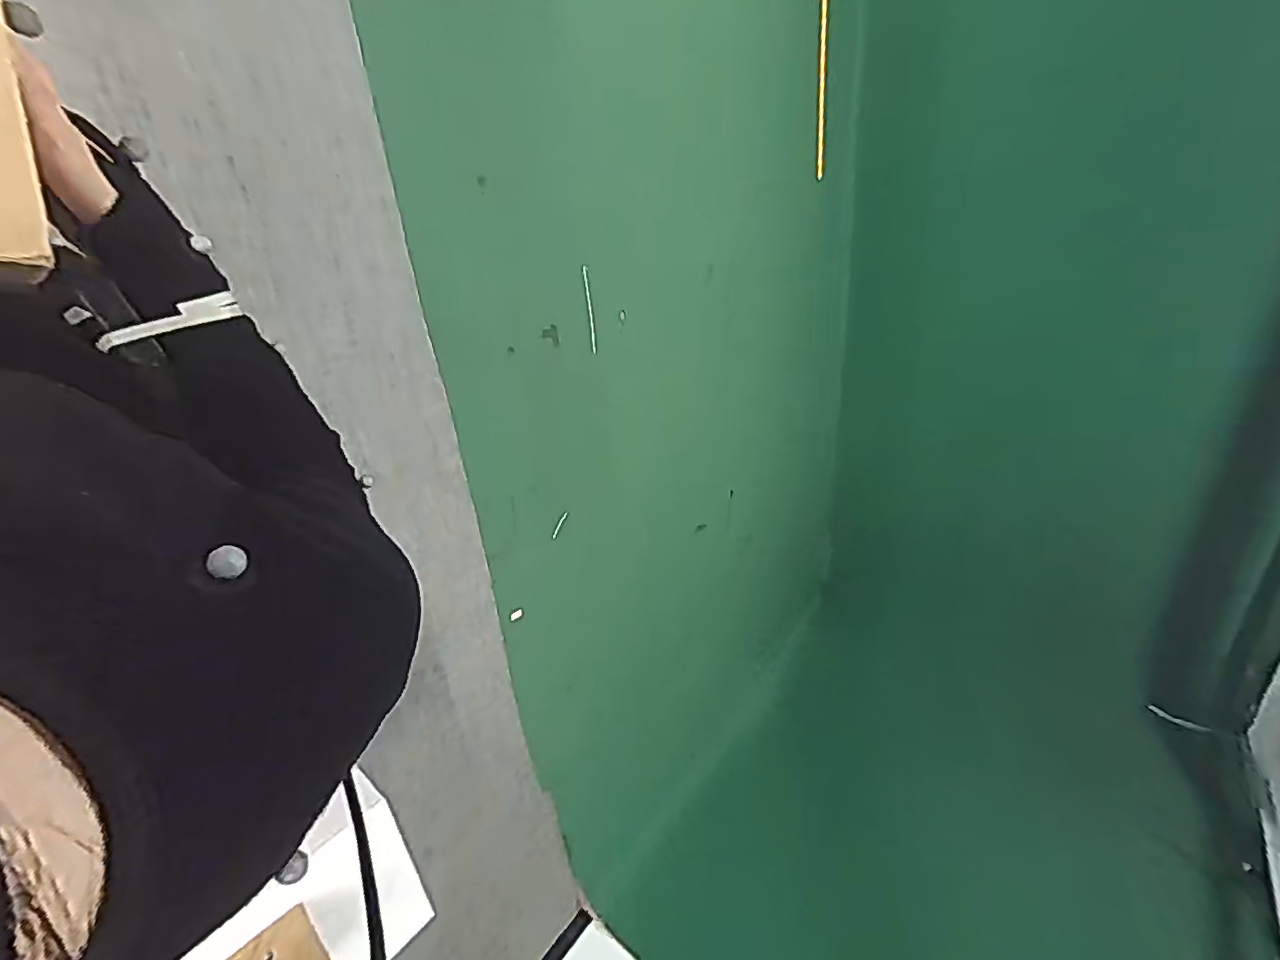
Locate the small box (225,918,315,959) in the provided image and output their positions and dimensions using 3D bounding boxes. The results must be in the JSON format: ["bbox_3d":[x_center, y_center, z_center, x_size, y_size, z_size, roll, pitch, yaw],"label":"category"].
[{"bbox_3d":[-0.604,0.873,0.870,0.168,0.176,0.179,-26,121,-45],"label":"small box"}]

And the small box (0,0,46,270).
[{"bbox_3d":[-0.402,-0.200,0.234,0.168,0.176,0.179,-13,108,-51],"label":"small box"}]
